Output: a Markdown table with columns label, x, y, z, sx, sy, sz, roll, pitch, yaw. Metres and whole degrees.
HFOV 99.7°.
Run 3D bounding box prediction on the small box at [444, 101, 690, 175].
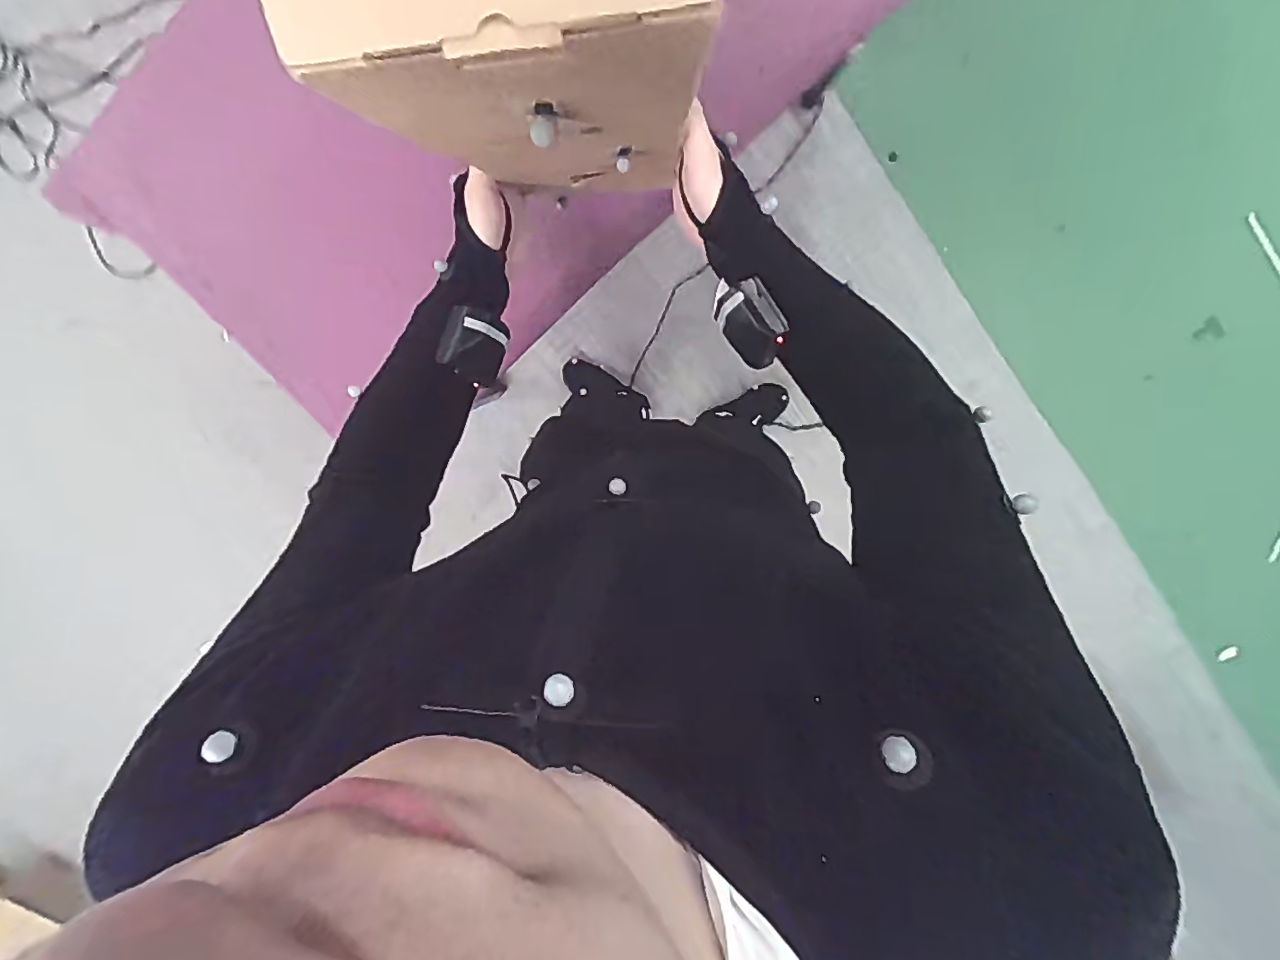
| label | x | y | z | sx | sy | sz | roll | pitch | yaw |
| --- | --- | --- | --- | --- | --- | --- | --- | --- | --- |
| small box | -0.051 | -0.332 | 0.391 | 0.168 | 0.176 | 0.179 | -4 | 111 | 3 |

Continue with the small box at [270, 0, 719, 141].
| label | x | y | z | sx | sy | sz | roll | pitch | yaw |
| --- | --- | --- | --- | --- | --- | --- | --- | --- | --- |
| small box | -0.057 | -0.267 | 0.241 | 0.168 | 0.176 | 0.179 | -5 | 112 | 3 |

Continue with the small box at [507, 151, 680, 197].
| label | x | y | z | sx | sy | sz | roll | pitch | yaw |
| --- | --- | --- | --- | --- | --- | --- | --- | --- | --- |
| small box | -0.047 | -0.393 | 0.542 | 0.168 | 0.176 | 0.179 | -5 | 110 | 4 |
